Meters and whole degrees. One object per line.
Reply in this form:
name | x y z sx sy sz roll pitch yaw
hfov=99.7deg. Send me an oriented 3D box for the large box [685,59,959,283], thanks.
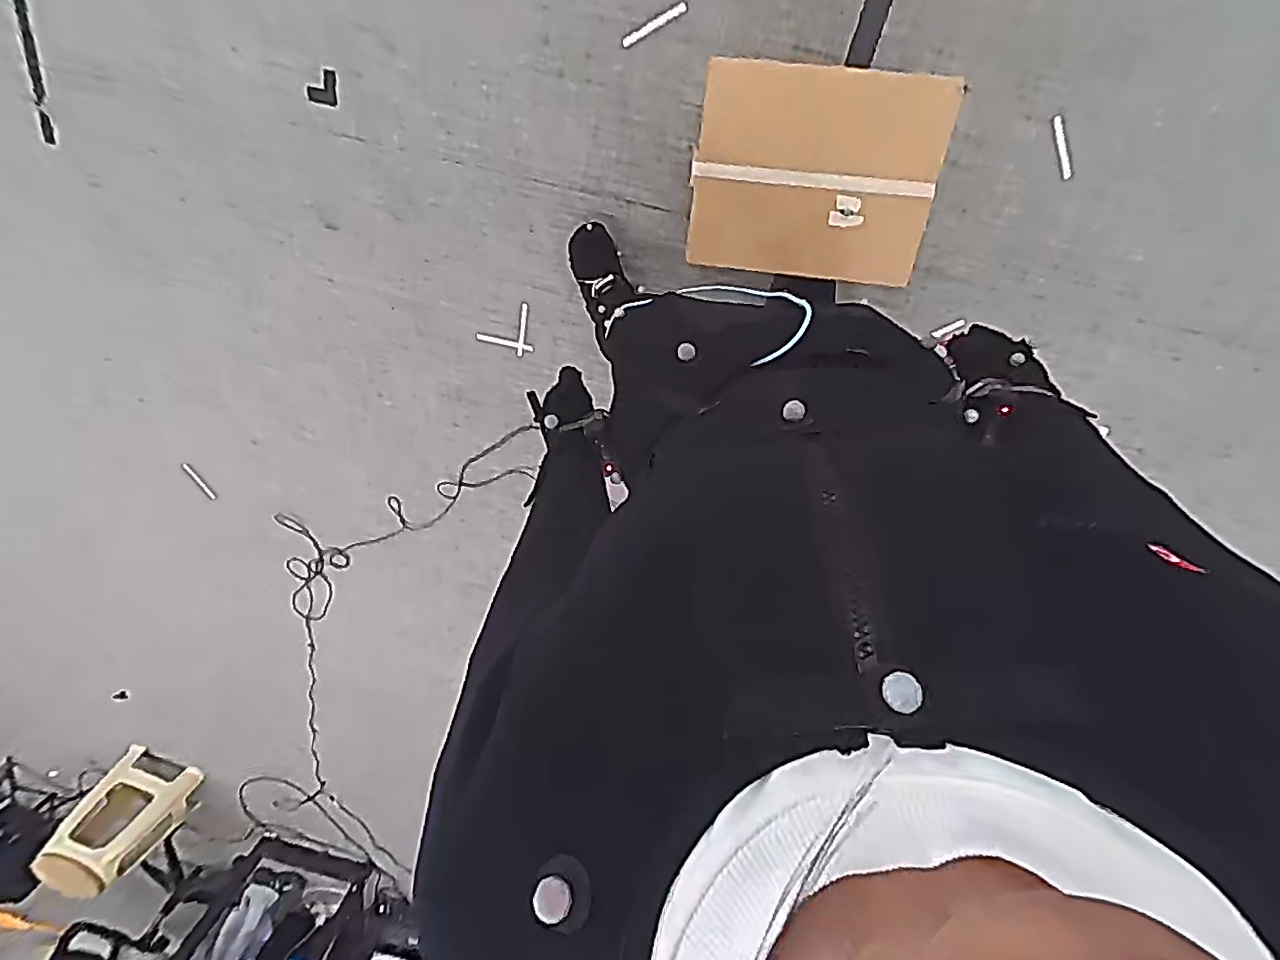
large box | 0.306 -0.580 1.054 0.408 0.320 0.320 8 118 3
